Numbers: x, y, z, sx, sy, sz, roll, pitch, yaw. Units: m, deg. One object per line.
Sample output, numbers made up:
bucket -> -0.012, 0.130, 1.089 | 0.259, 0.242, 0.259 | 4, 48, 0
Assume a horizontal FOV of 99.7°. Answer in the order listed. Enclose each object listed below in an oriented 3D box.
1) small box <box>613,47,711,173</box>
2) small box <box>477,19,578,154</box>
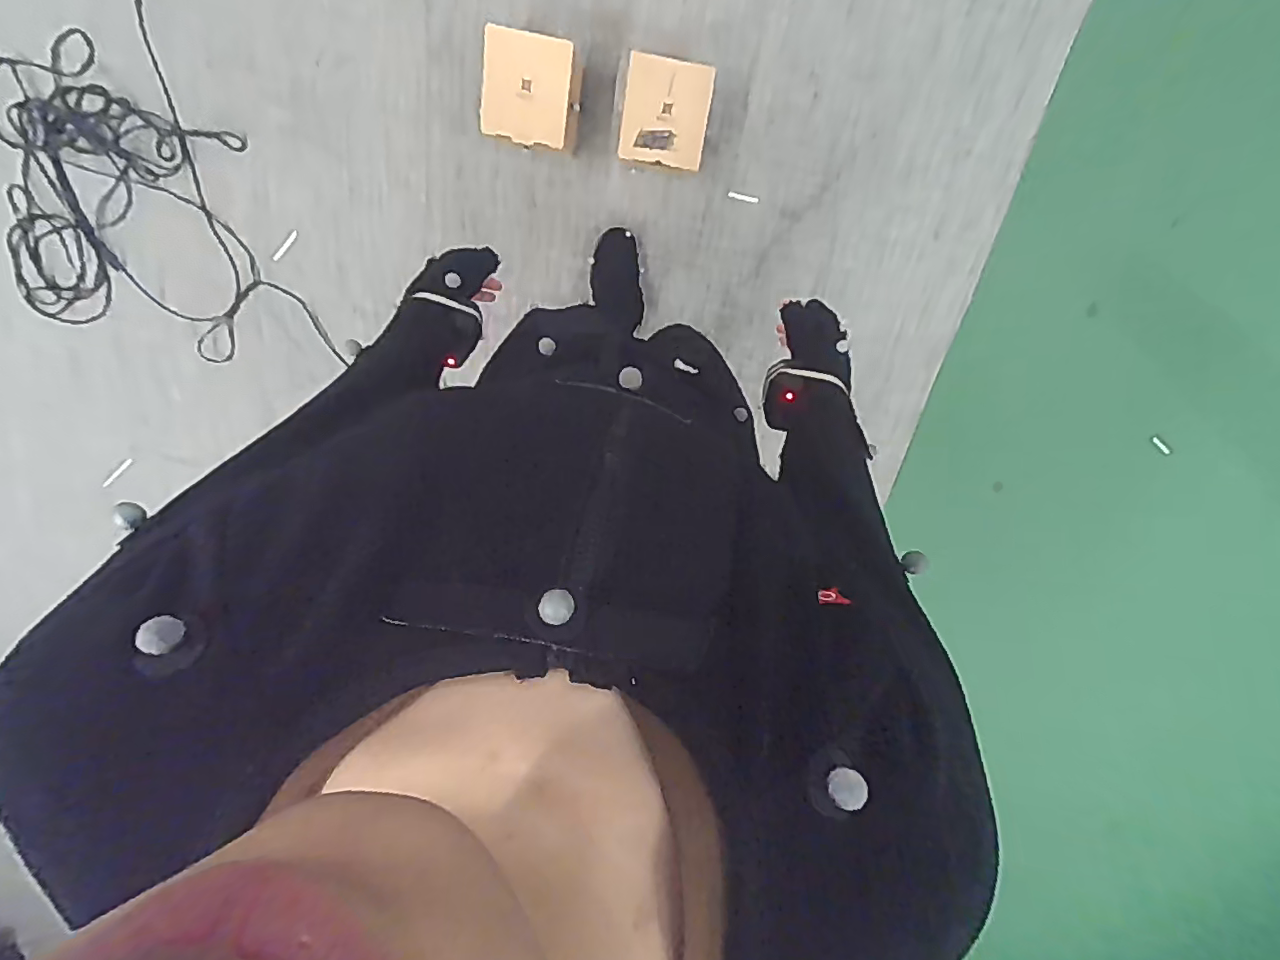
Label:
small box -> 0.041, -0.746, 1.111 | 0.168, 0.176, 0.179 | 9, 114, -4
small box -> -0.222, -0.784, 1.097 | 0.168, 0.176, 0.179 | 9, 115, -4
